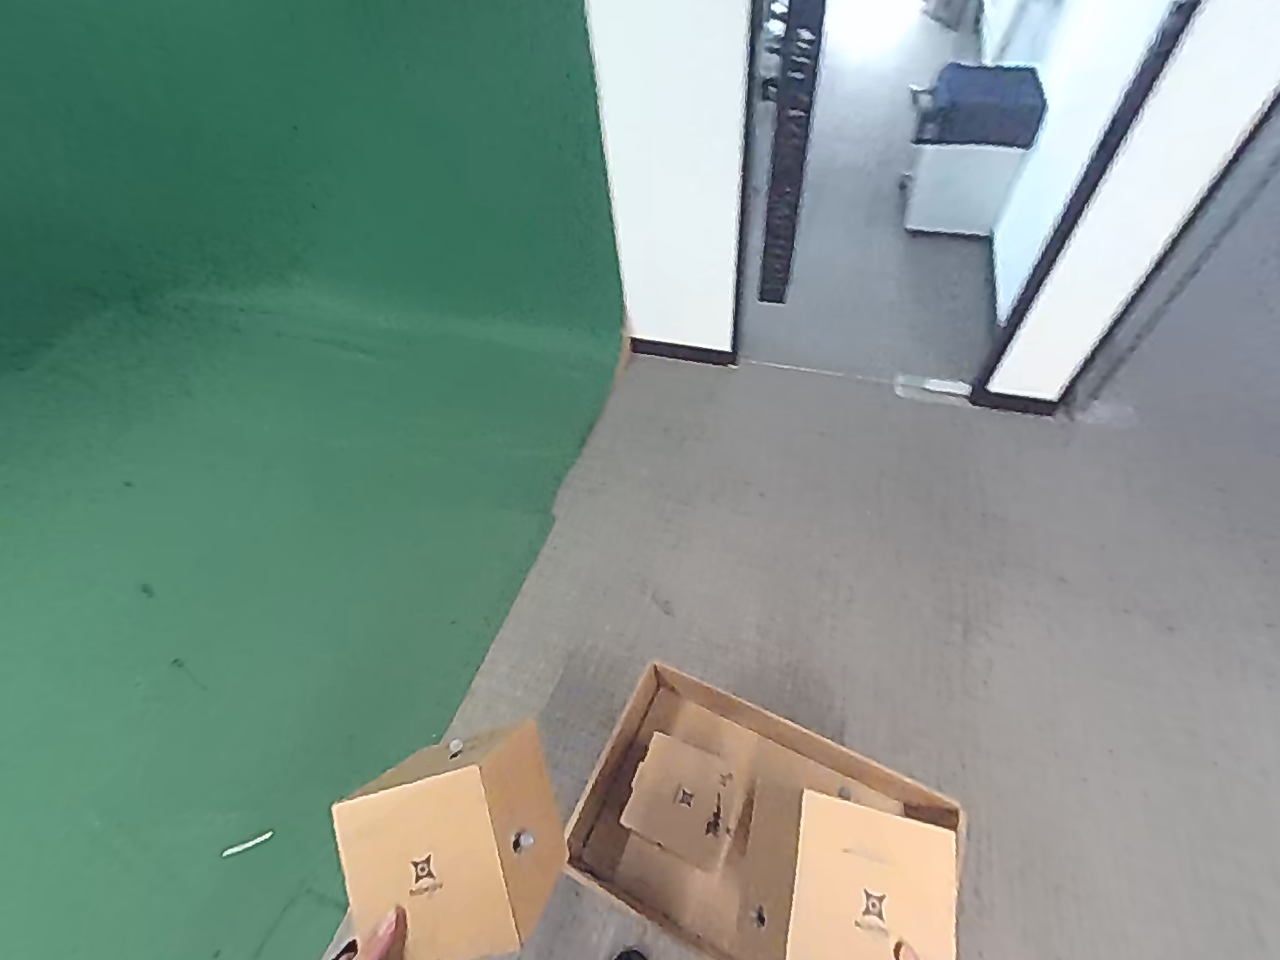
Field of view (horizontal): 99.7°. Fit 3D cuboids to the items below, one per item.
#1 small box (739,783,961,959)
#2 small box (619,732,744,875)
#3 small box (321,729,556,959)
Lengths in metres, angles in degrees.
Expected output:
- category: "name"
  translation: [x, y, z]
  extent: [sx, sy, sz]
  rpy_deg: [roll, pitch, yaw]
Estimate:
- category: "small box"
  translation: [0.215, 0.449, 0.584]
  extent: [0.168, 0.176, 0.179]
  rpy_deg: [16, 63, 1]
- category: "small box"
  translation: [0.081, 0.604, 1.003]
  extent: [0.179, 0.176, 0.168]
  rpy_deg: [17, 55, 19]
- category: "small box"
  translation: [-0.207, 0.395, 0.595]
  extent: [0.168, 0.176, 0.179]
  rpy_deg: [-18, 81, 3]
